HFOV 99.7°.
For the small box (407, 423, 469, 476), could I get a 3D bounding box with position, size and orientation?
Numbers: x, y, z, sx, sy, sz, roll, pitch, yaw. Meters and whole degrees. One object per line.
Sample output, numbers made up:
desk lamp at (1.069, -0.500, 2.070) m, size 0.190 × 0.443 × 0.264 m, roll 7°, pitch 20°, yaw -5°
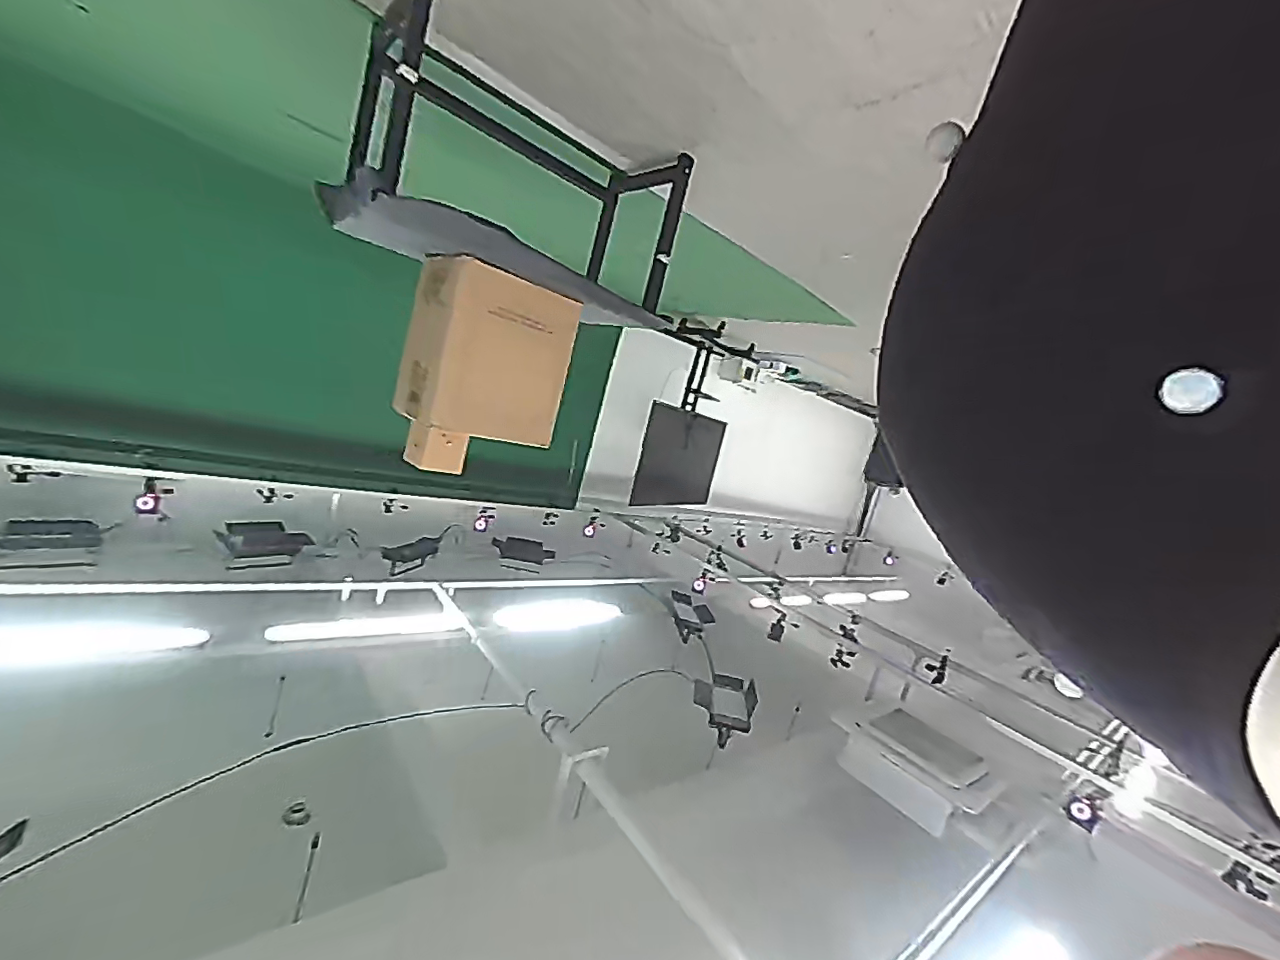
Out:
small box at (-0.801, -0.124, 2.153) m, size 0.168 × 0.176 × 0.179 m, roll 9°, pitch -173°, yaw -46°
